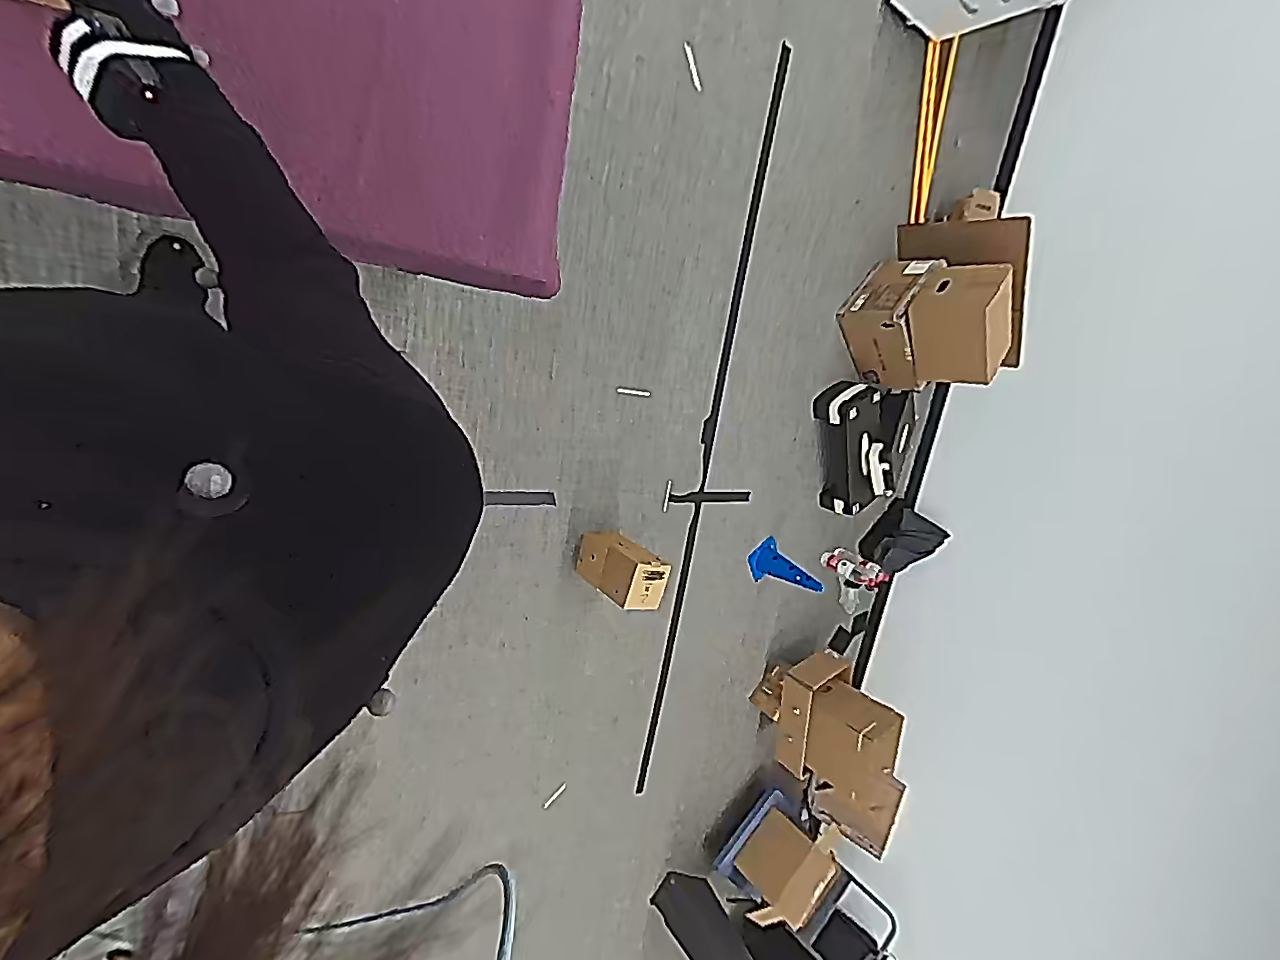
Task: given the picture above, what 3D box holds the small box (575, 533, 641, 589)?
[{"bbox_3d":[-0.126,0.308,2.079,0.179,0.176,0.168,4,104,-40],"label":"small box"}]
